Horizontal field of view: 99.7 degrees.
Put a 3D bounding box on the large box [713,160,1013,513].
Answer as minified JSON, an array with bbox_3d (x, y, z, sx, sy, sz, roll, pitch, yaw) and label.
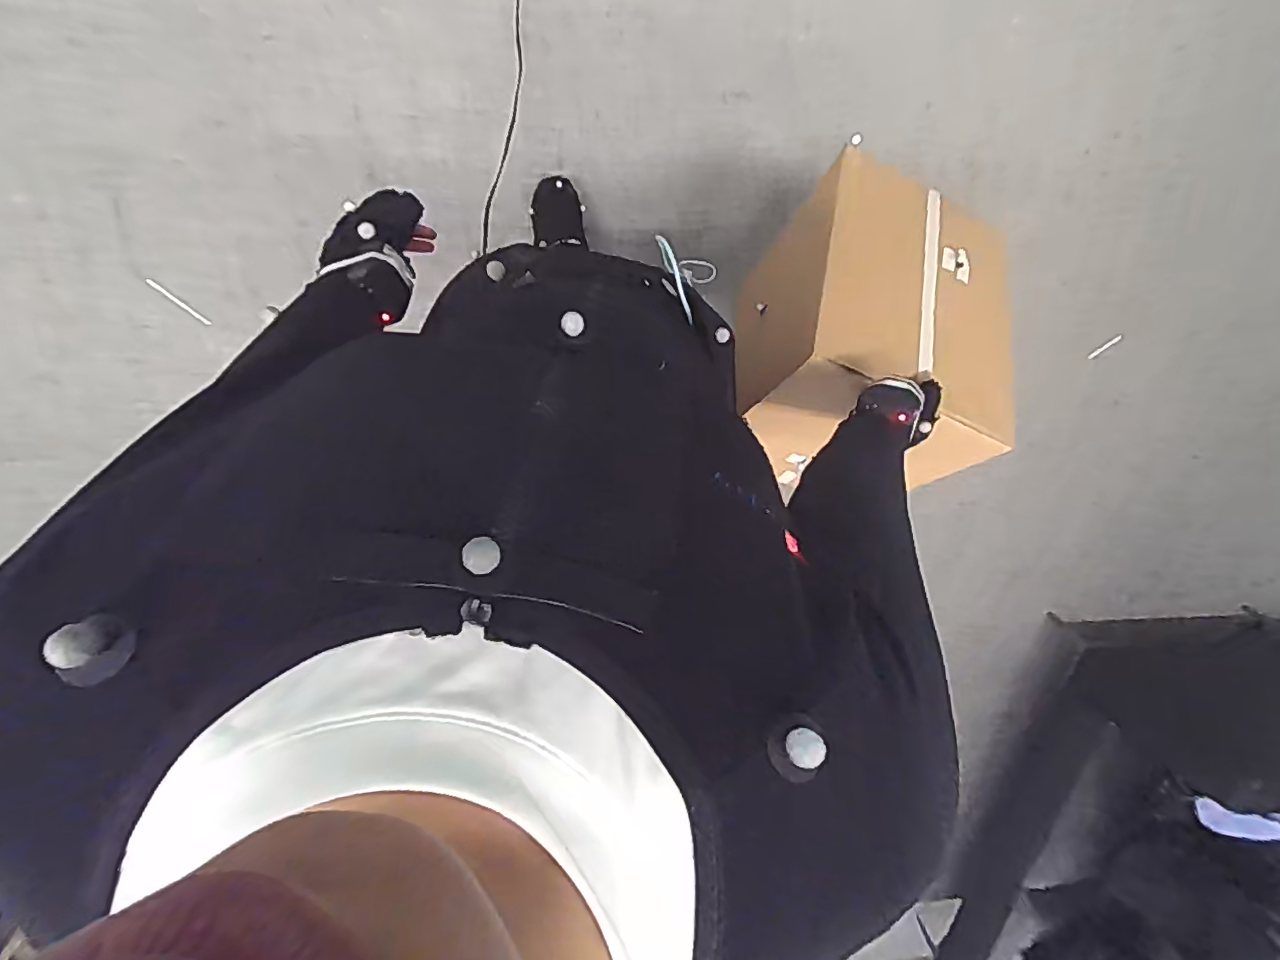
[{"bbox_3d":[0.351,-0.209,0.895,0.320,0.408,0.320,22,154,-12],"label":"large box"}]
